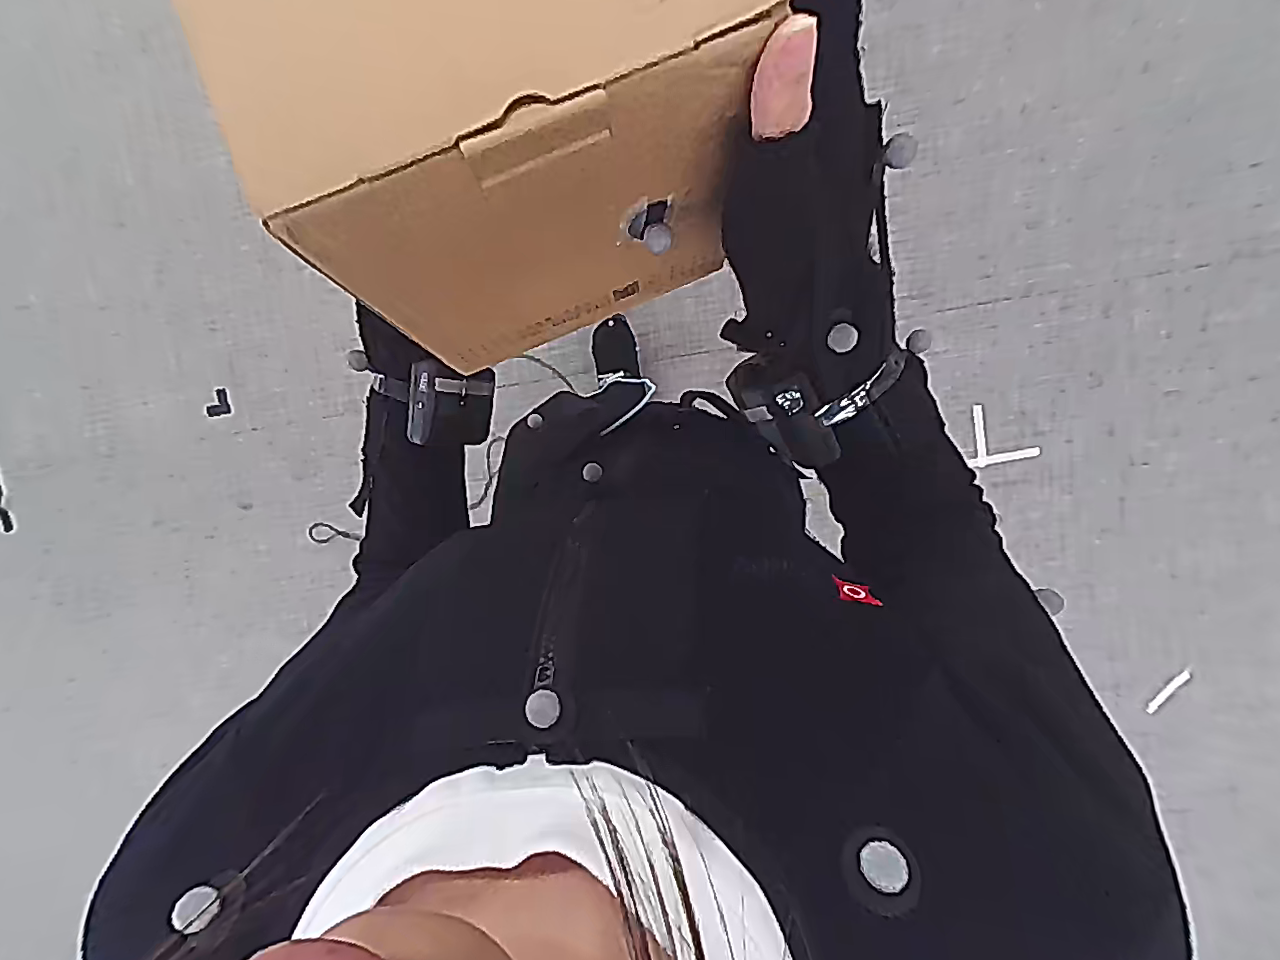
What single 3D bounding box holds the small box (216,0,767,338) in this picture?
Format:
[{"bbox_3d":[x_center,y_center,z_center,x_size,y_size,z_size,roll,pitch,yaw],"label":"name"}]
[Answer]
[{"bbox_3d":[-0.061,-0.185,0.255,0.168,0.176,0.179,-22,86,-1],"label":"small box"}]
